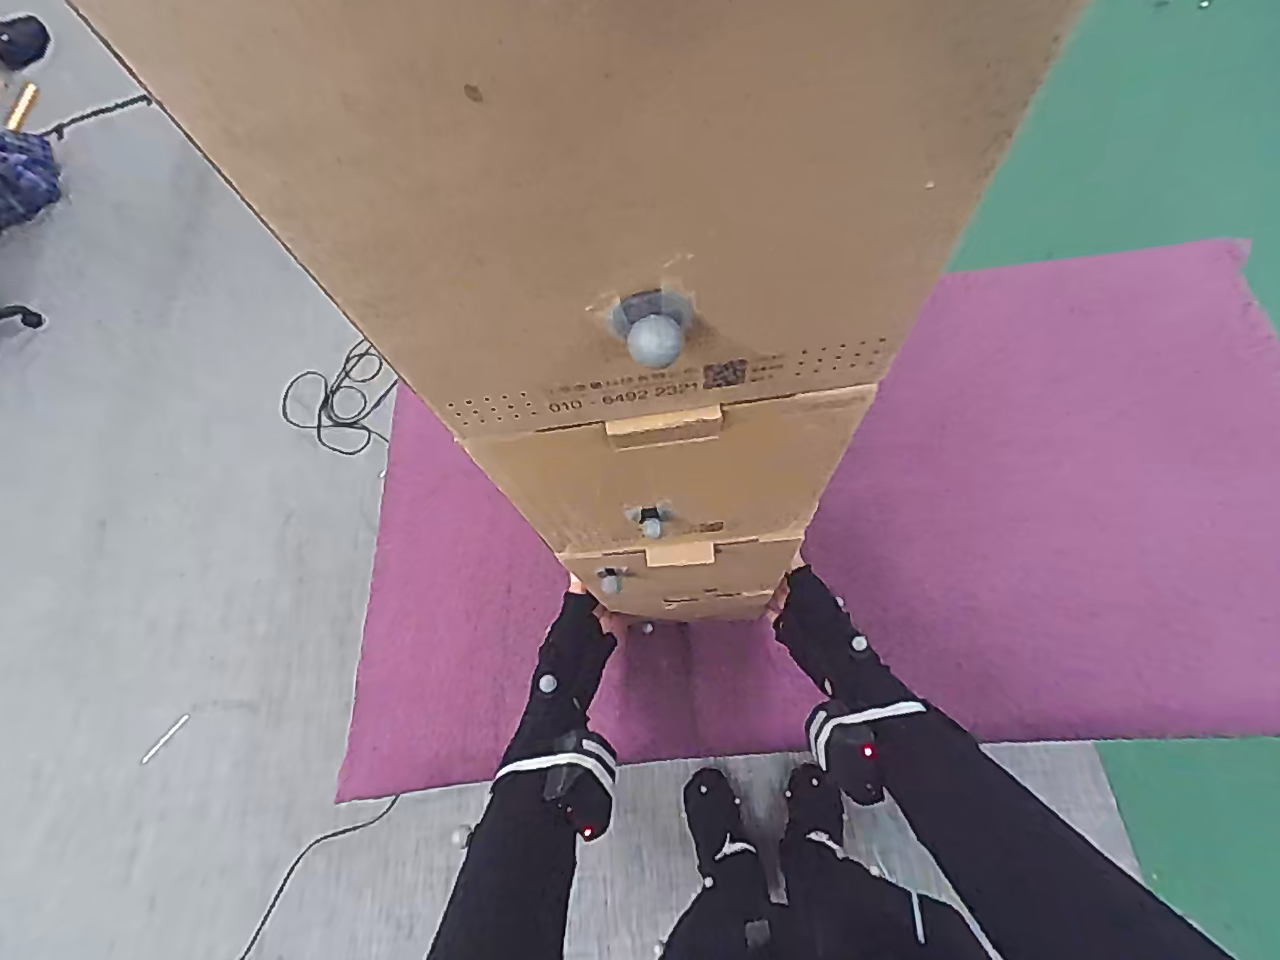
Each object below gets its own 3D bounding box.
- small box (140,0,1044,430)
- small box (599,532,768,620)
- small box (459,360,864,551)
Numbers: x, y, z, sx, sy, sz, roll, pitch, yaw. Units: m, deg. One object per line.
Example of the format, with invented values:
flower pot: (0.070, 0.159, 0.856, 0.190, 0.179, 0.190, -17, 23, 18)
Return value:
small box: (-0.010, -0.138, 0.172, 0.168, 0.176, 0.179, -8, 66, 4)
small box: (0.049, 0.062, 0.618, 0.168, 0.176, 0.179, -5, 66, 5)
small box: (0.008, -0.071, 0.322, 0.168, 0.176, 0.179, -8, 66, 4)
